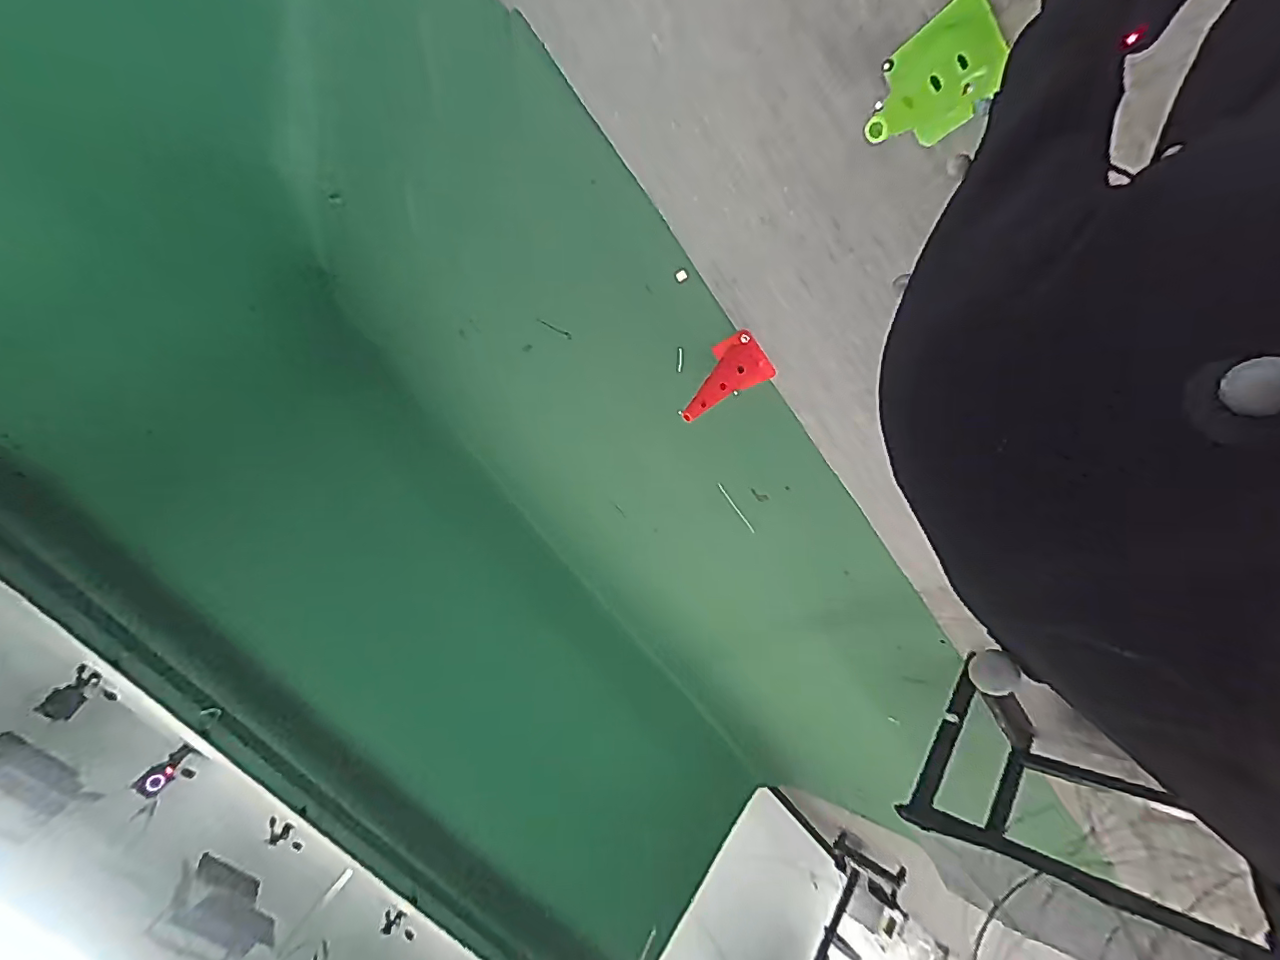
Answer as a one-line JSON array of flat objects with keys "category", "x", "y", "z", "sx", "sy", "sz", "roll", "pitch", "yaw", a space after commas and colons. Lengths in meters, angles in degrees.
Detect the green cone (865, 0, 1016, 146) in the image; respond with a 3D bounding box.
[{"category": "green cone", "x": 0.511, "y": -0.709, "z": 1.010, "sx": 0.200, "sy": 0.368, "sz": 0.202, "roll": 50, "pitch": 151, "yaw": -13}]
